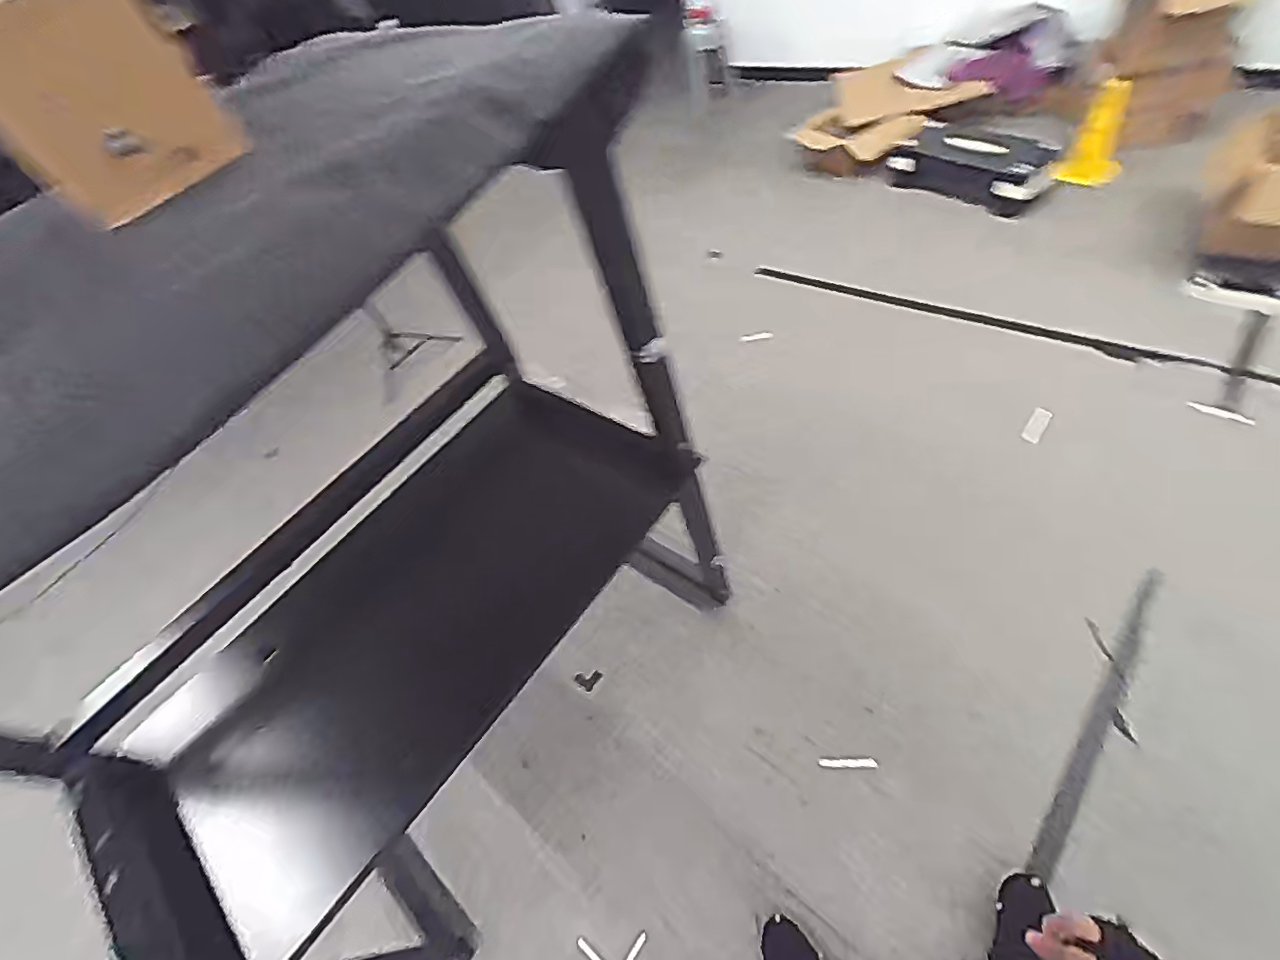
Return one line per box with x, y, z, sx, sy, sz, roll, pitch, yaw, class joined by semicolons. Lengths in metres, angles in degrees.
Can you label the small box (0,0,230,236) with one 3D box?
-0.575;-0.374;0.545;0.179;0.176;0.168;28;68;30;small box
